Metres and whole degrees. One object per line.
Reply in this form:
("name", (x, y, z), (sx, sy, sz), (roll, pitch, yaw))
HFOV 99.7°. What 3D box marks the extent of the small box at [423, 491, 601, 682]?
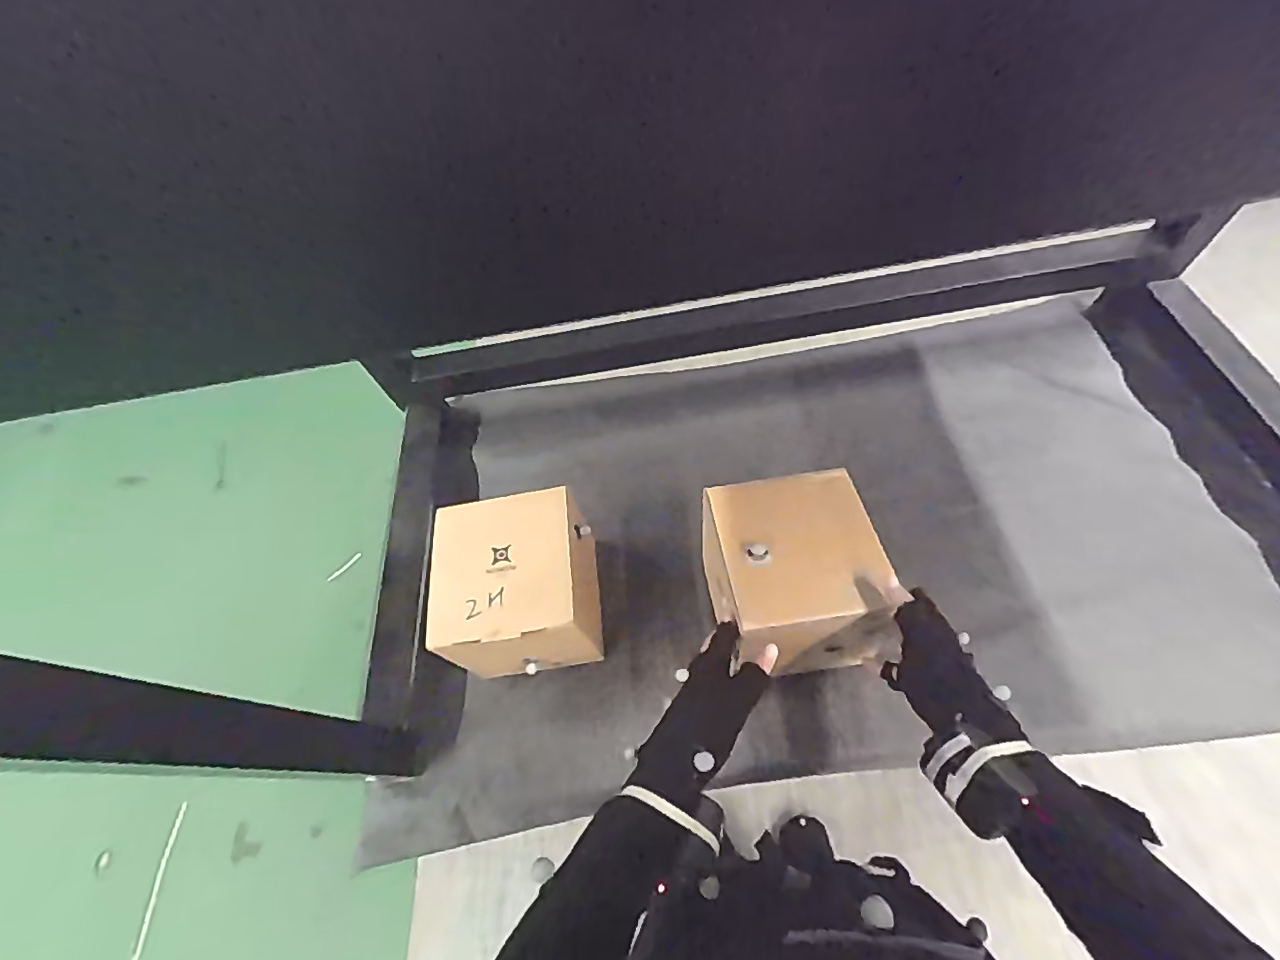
("small box", (-0.149, 0.139, 0.684), (0.168, 0.176, 0.179), (-10, 57, 4))
